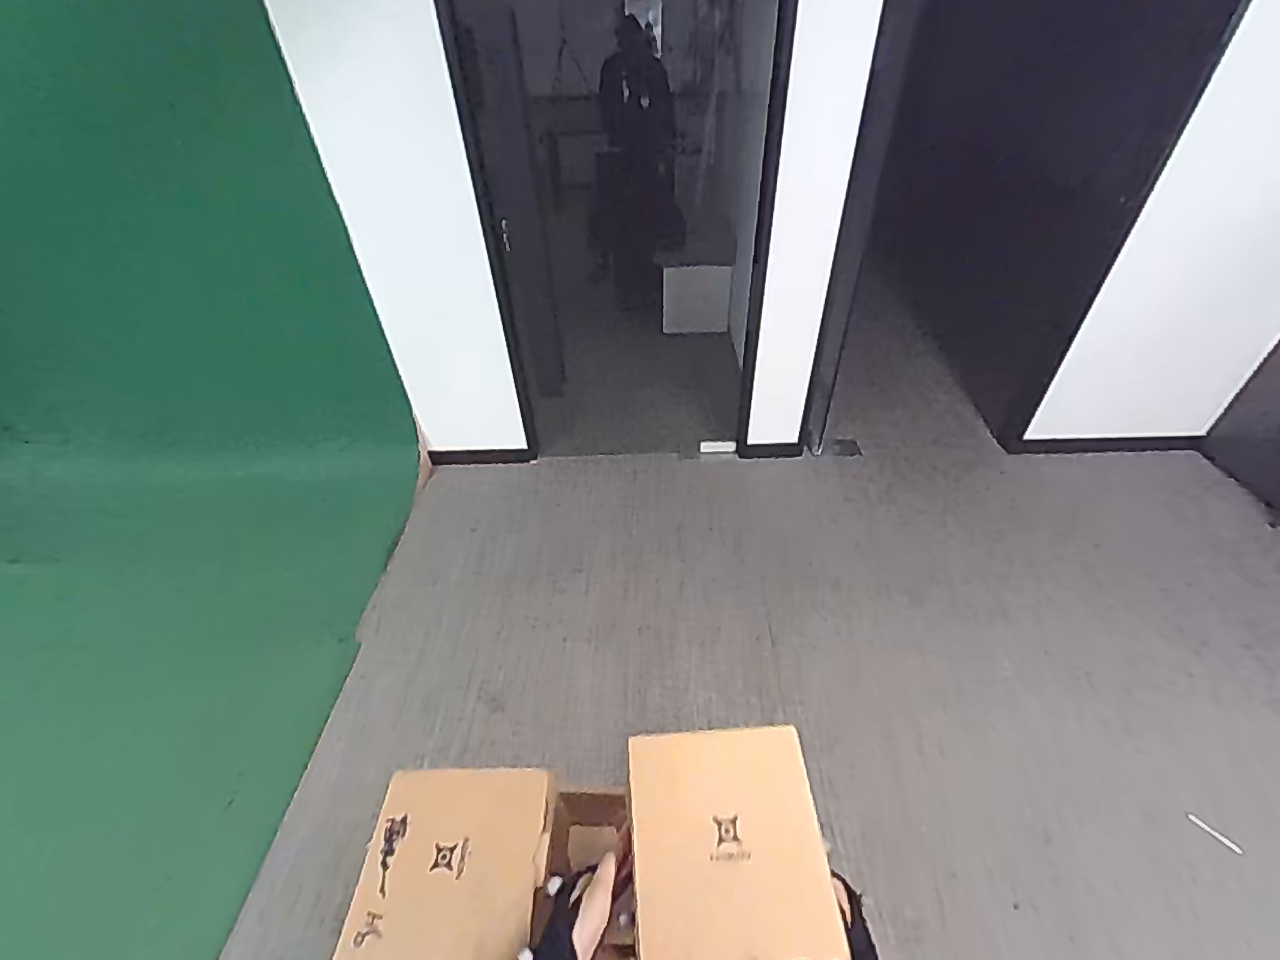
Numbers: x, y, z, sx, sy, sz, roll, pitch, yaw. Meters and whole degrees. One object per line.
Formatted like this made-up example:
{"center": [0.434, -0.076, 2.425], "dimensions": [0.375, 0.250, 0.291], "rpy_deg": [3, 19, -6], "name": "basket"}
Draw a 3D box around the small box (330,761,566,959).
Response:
{"center": [-0.179, 0.420, 0.576], "dimensions": [0.179, 0.176, 0.168], "rpy_deg": [-1, 40, 1], "name": "small box"}
